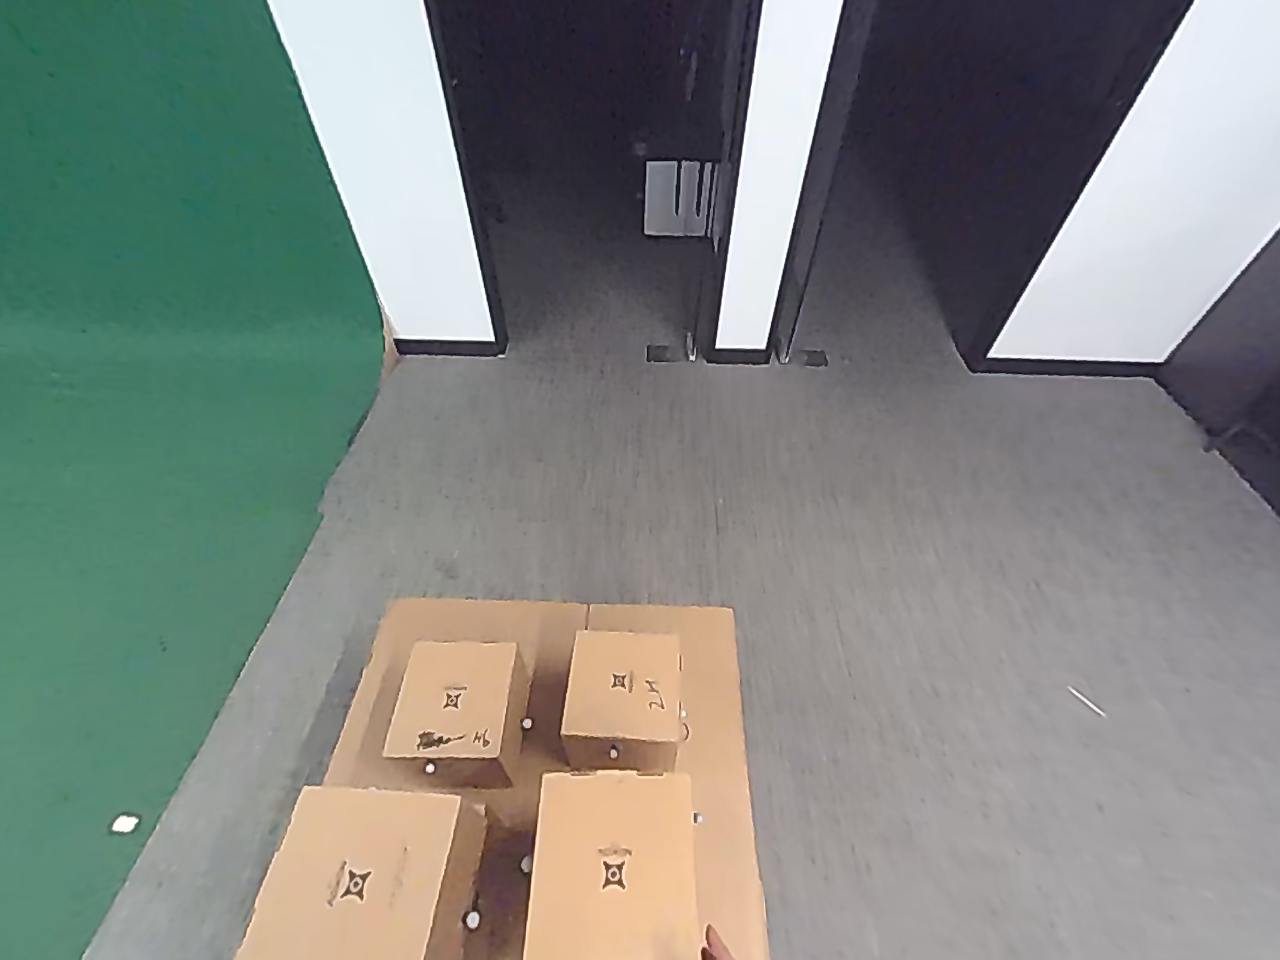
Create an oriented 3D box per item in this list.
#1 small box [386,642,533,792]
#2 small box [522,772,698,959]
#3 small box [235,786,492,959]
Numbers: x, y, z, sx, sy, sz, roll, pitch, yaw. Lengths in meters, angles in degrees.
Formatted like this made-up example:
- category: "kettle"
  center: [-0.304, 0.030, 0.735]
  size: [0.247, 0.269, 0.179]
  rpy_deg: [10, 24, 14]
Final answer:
- category: "small box"
  center: [-0.274, 0.381, 0.870]
  size: [0.168, 0.176, 0.179]
  rpy_deg: [-1, 47, 1]
- category: "small box"
  center: [-0.024, 0.441, 0.597]
  size: [0.168, 0.176, 0.179]
  rpy_deg: [0, 47, 1]
- category: "small box"
  center: [-0.279, 0.449, 0.589]
  size: [0.179, 0.176, 0.168]
  rpy_deg: [3, 49, 2]
